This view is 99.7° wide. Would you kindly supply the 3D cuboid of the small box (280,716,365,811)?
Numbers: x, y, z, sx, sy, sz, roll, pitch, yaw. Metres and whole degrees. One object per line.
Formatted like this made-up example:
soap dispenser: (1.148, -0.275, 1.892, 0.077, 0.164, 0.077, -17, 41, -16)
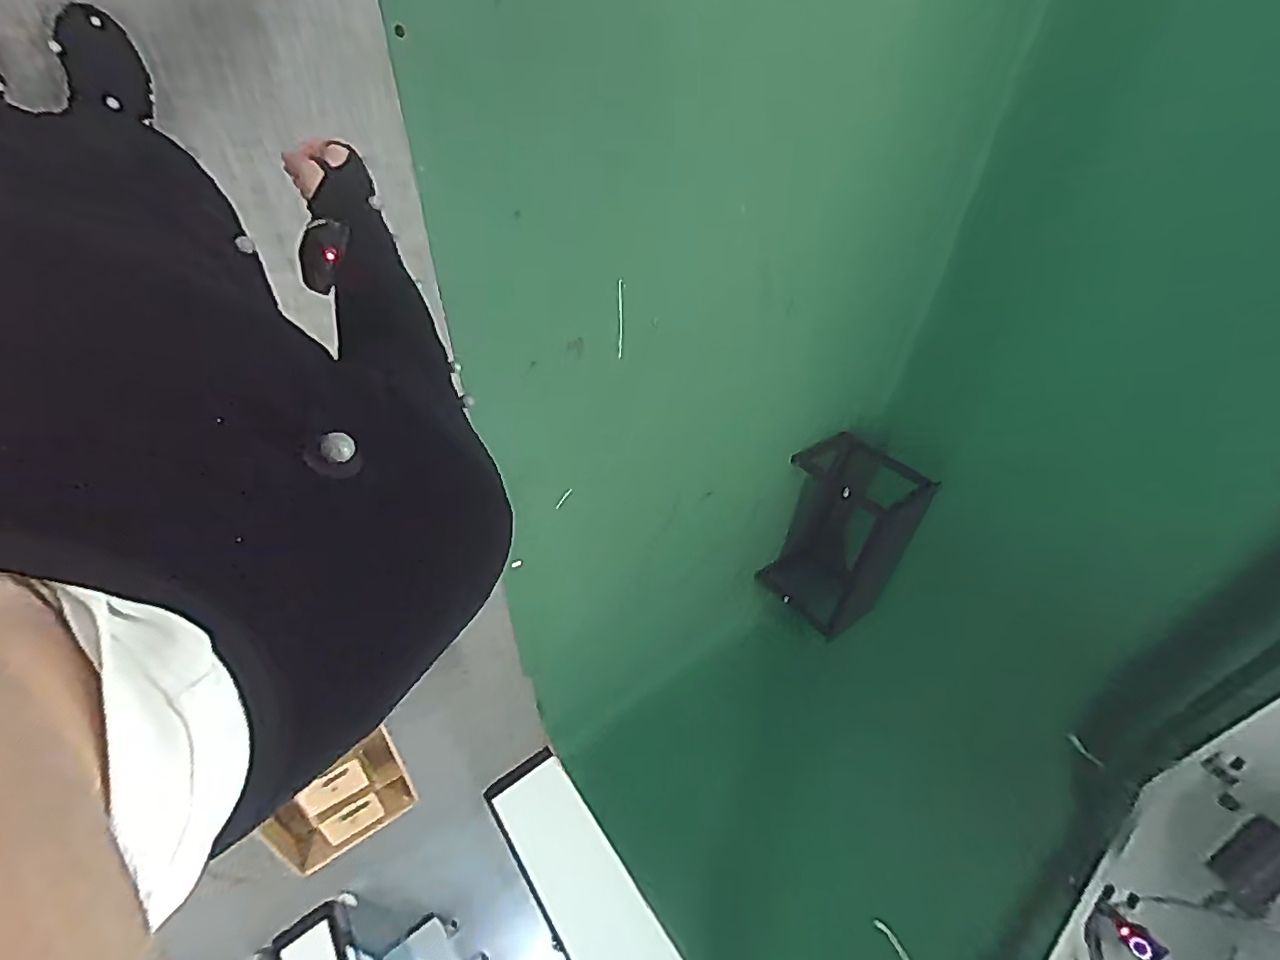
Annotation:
small box: (-0.968, 0.854, 1.649, 0.168, 0.176, 0.179, -22, 137, -31)
